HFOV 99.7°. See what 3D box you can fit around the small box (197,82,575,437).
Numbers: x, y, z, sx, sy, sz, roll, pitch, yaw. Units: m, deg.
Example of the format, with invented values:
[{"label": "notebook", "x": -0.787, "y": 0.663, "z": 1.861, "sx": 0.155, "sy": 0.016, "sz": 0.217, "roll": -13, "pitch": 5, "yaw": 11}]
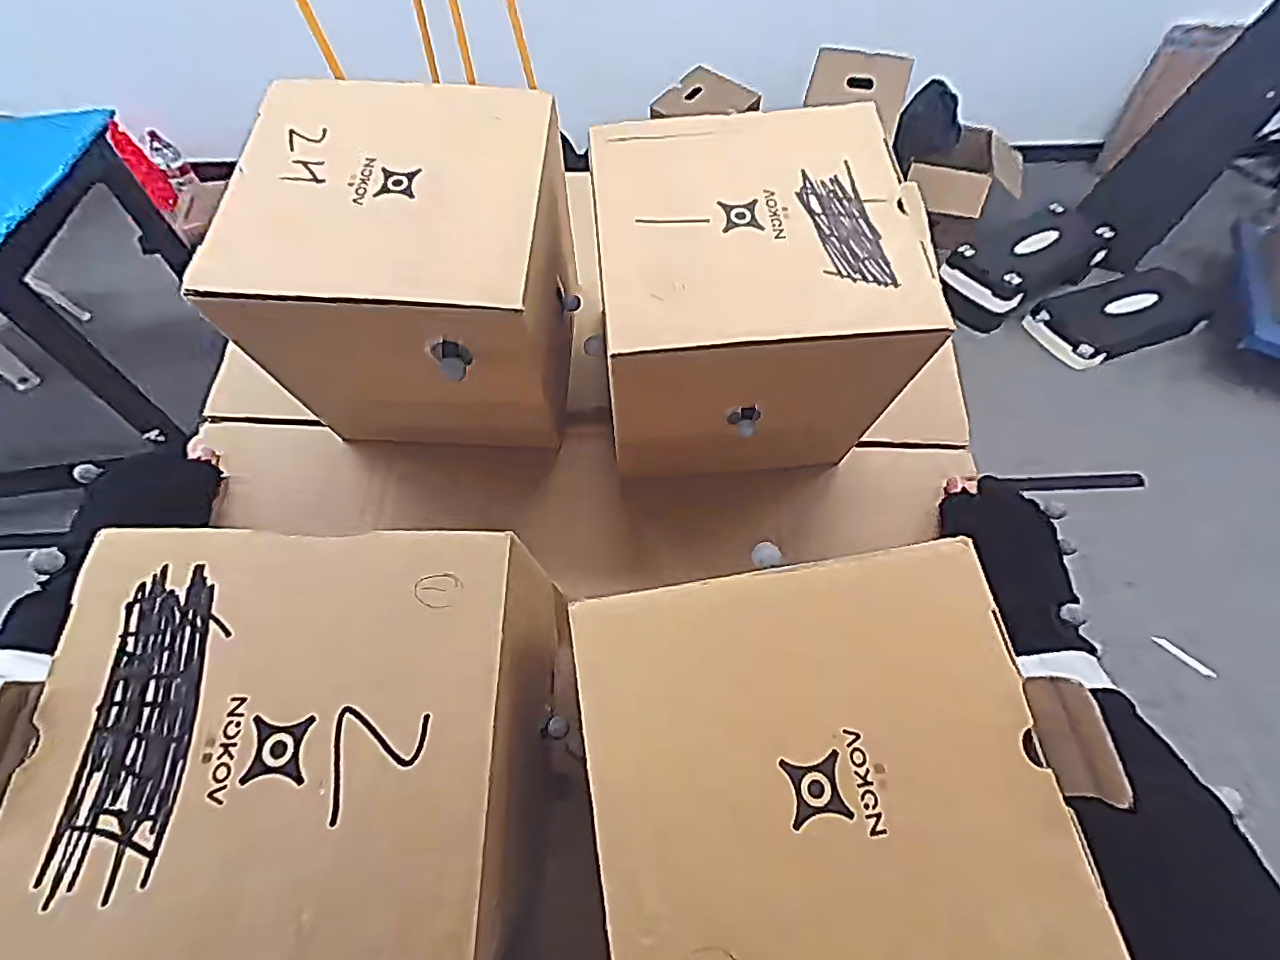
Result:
[{"label": "small box", "x": -0.145, "y": -0.141, "z": 0.389, "sx": 0.179, "sy": 0.176, "sz": 0.168, "roll": 4, "pitch": 68, "yaw": 1}]
